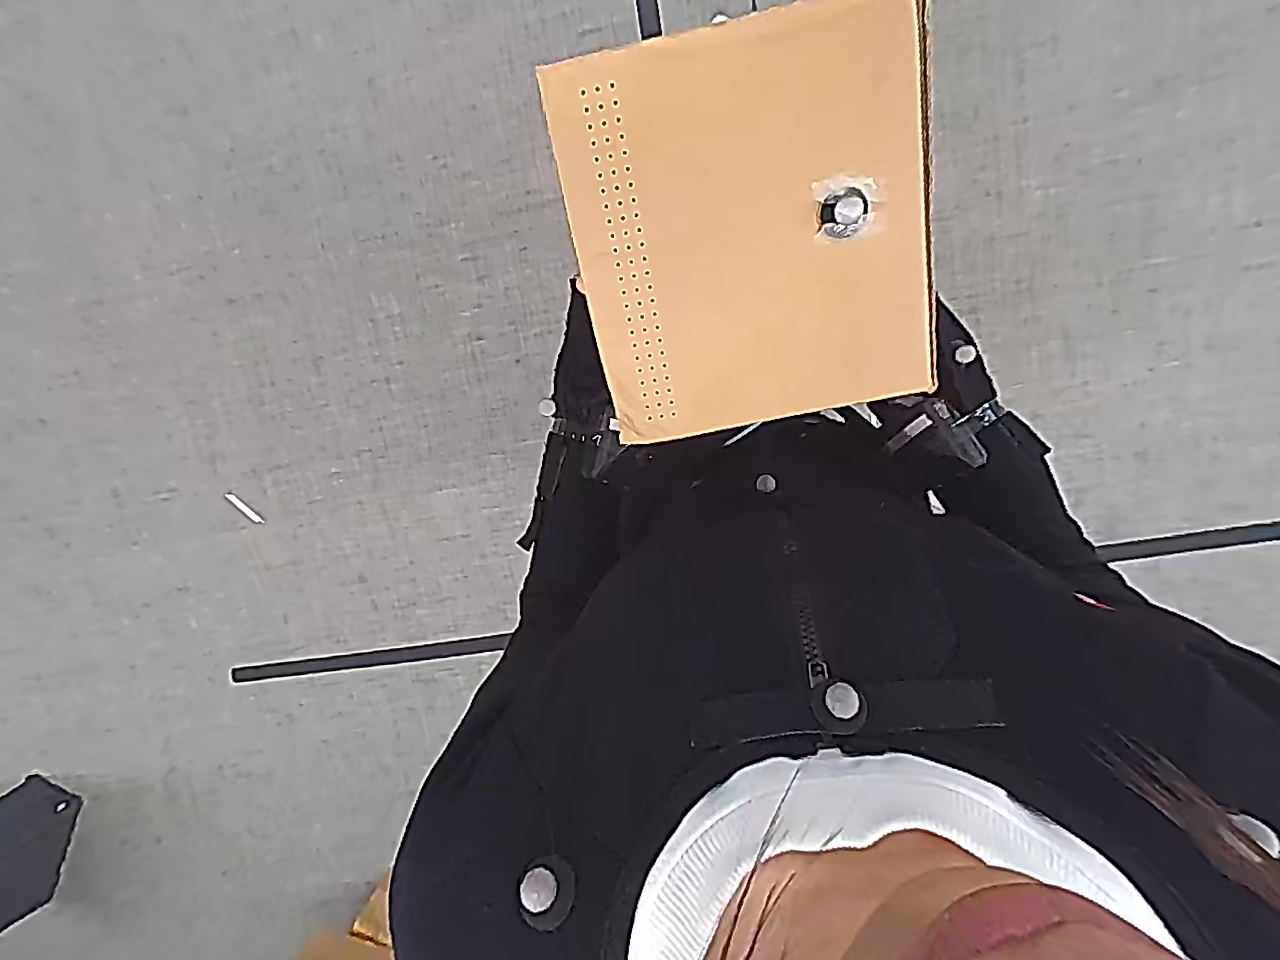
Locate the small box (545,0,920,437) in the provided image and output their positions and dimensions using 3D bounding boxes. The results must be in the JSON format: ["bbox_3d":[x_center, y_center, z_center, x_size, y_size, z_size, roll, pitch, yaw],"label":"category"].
[{"bbox_3d":[0.049,-0.143,0.340,0.176,0.168,0.179,-10,110,6],"label":"small box"}]
